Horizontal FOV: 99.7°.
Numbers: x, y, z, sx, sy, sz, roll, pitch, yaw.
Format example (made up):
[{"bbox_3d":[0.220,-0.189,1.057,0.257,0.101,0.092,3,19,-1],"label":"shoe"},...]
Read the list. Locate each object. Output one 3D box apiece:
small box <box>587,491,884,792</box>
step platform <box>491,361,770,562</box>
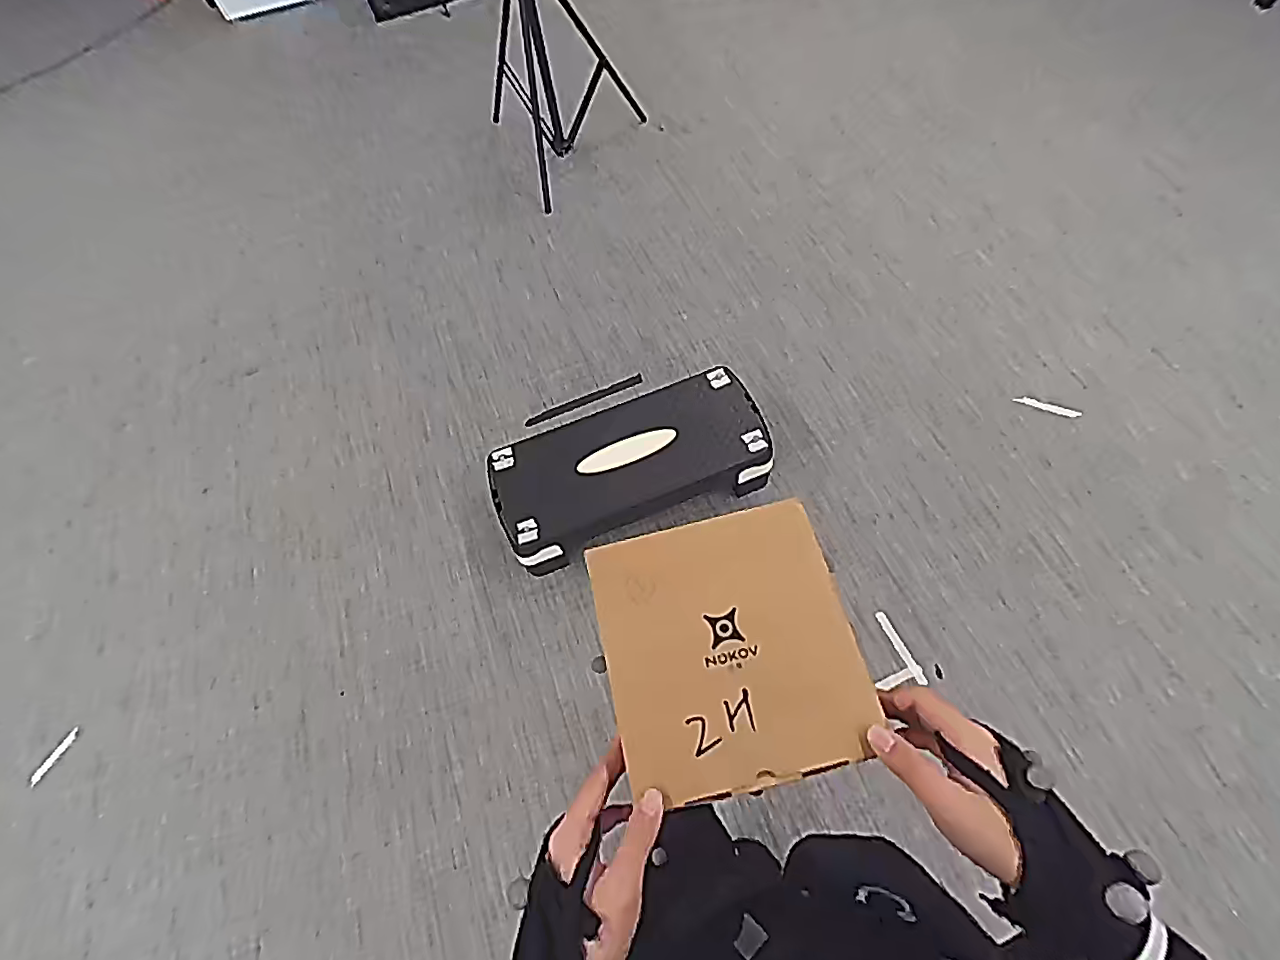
[{"bbox_3d":[0.062,0.134,0.440,0.168,0.176,0.179,-14,64,0],"label":"small box"},{"bbox_3d":[-0.023,-0.050,1.371,0.684,0.204,0.286,-22,64,-5],"label":"step platform"}]
